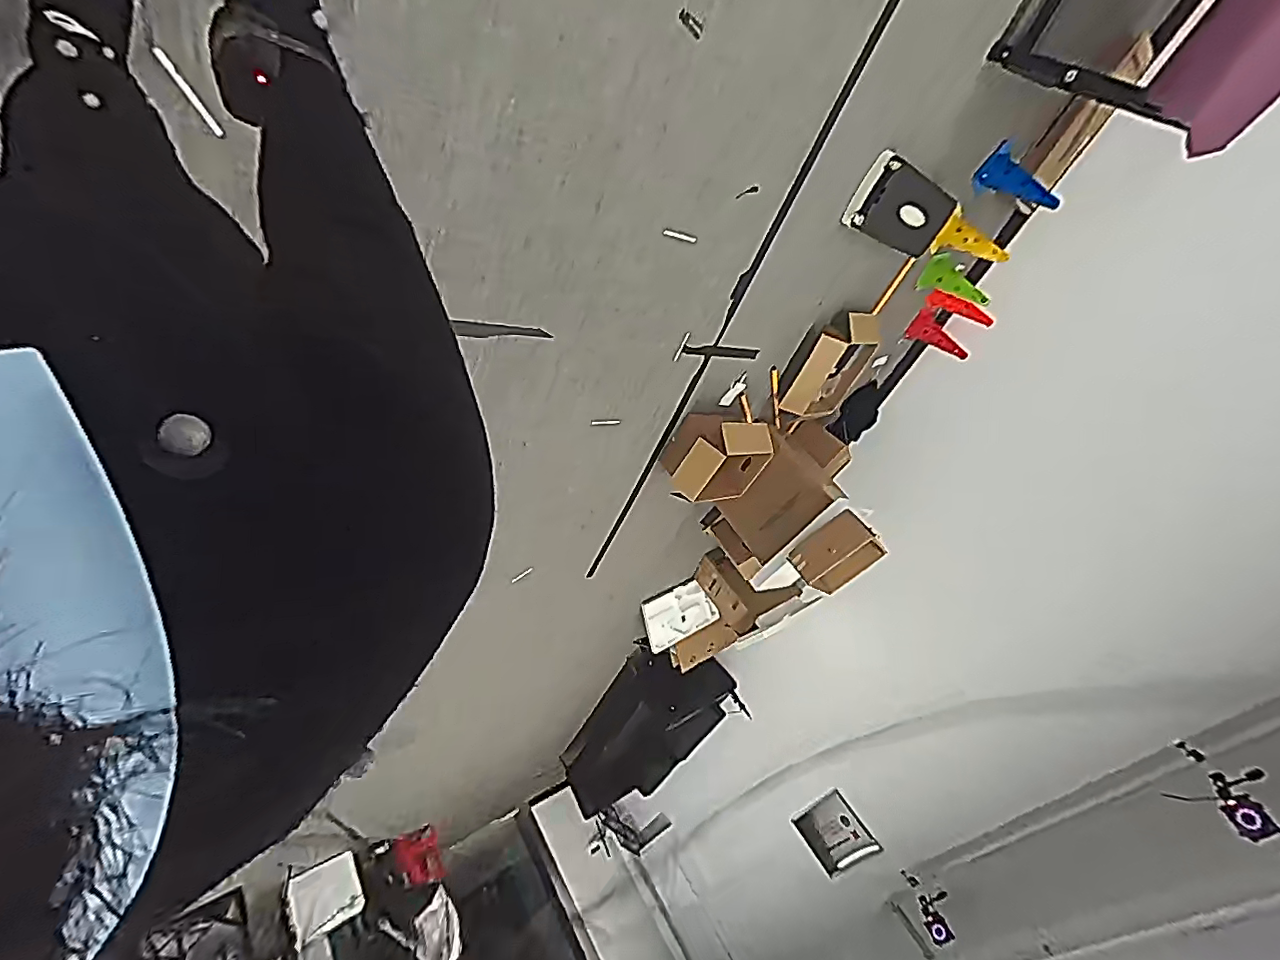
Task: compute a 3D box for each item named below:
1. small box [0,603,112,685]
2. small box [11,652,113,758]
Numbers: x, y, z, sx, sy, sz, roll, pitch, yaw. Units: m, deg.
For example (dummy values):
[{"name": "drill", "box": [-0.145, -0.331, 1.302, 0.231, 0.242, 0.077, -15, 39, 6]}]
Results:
[{"name": "small box", "box": [-1.614, 0.473, 1.501, 0.168, 0.176, 0.179, -19, 145, -33]}, {"name": "small box", "box": [-1.522, 0.588, 1.431, 0.168, 0.176, 0.179, -8, 139, -43]}]
